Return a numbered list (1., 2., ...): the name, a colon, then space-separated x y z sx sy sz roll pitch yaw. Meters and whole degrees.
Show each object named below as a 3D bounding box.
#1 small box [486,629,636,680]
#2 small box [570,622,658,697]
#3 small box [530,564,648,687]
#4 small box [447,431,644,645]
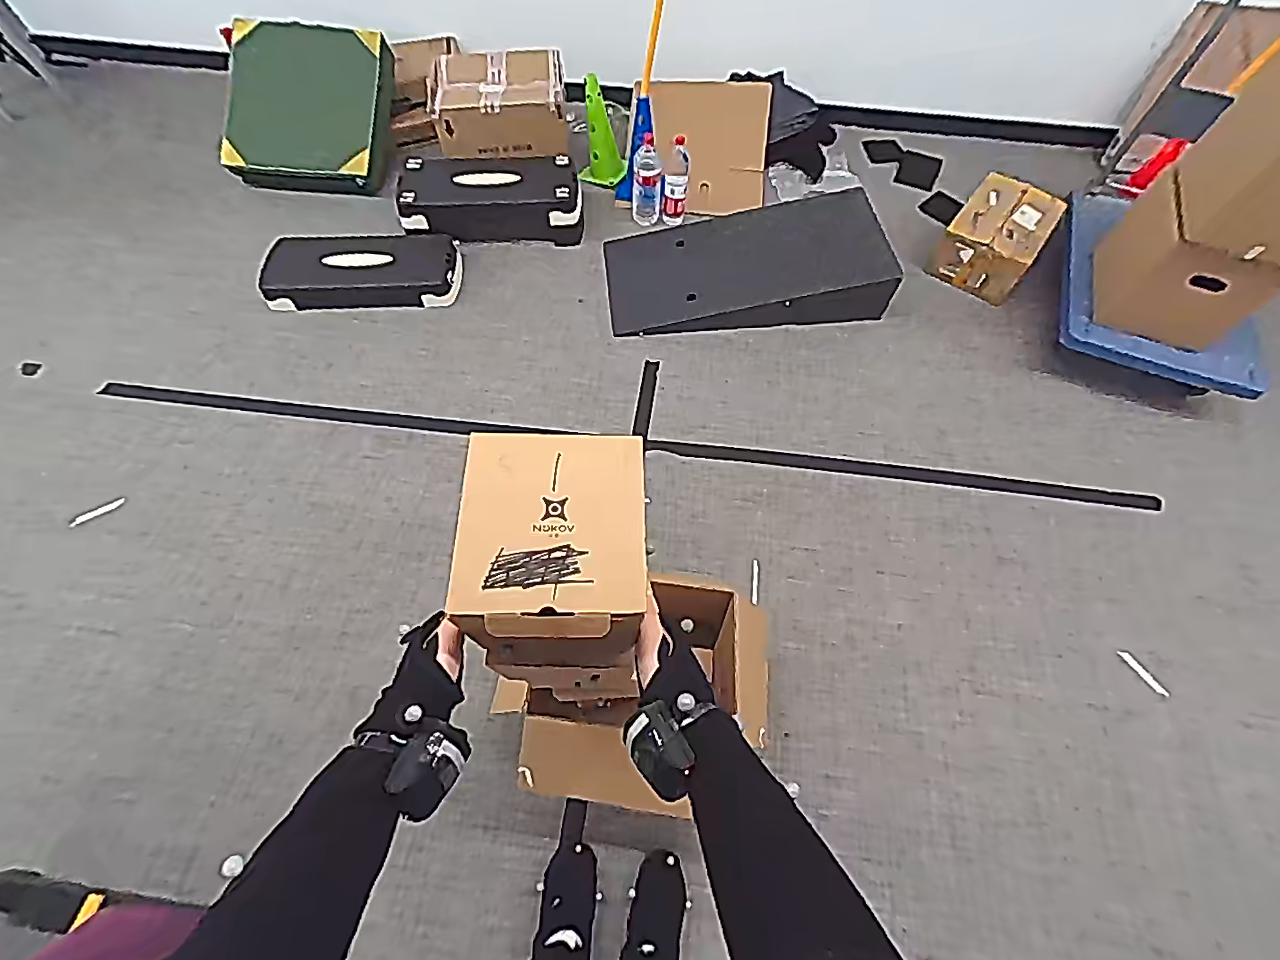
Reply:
1. small box: -0.088 0.157 0.693 0.168 0.176 0.179 4 64 -3
2. small box: -0.071 0.353 1.146 0.179 0.176 0.168 -10 65 -10
3. small box: -0.081 0.228 0.840 0.179 0.176 0.168 3 66 -3
4. small box: -0.083 0.069 0.552 0.168 0.176 0.179 2 63 -4
